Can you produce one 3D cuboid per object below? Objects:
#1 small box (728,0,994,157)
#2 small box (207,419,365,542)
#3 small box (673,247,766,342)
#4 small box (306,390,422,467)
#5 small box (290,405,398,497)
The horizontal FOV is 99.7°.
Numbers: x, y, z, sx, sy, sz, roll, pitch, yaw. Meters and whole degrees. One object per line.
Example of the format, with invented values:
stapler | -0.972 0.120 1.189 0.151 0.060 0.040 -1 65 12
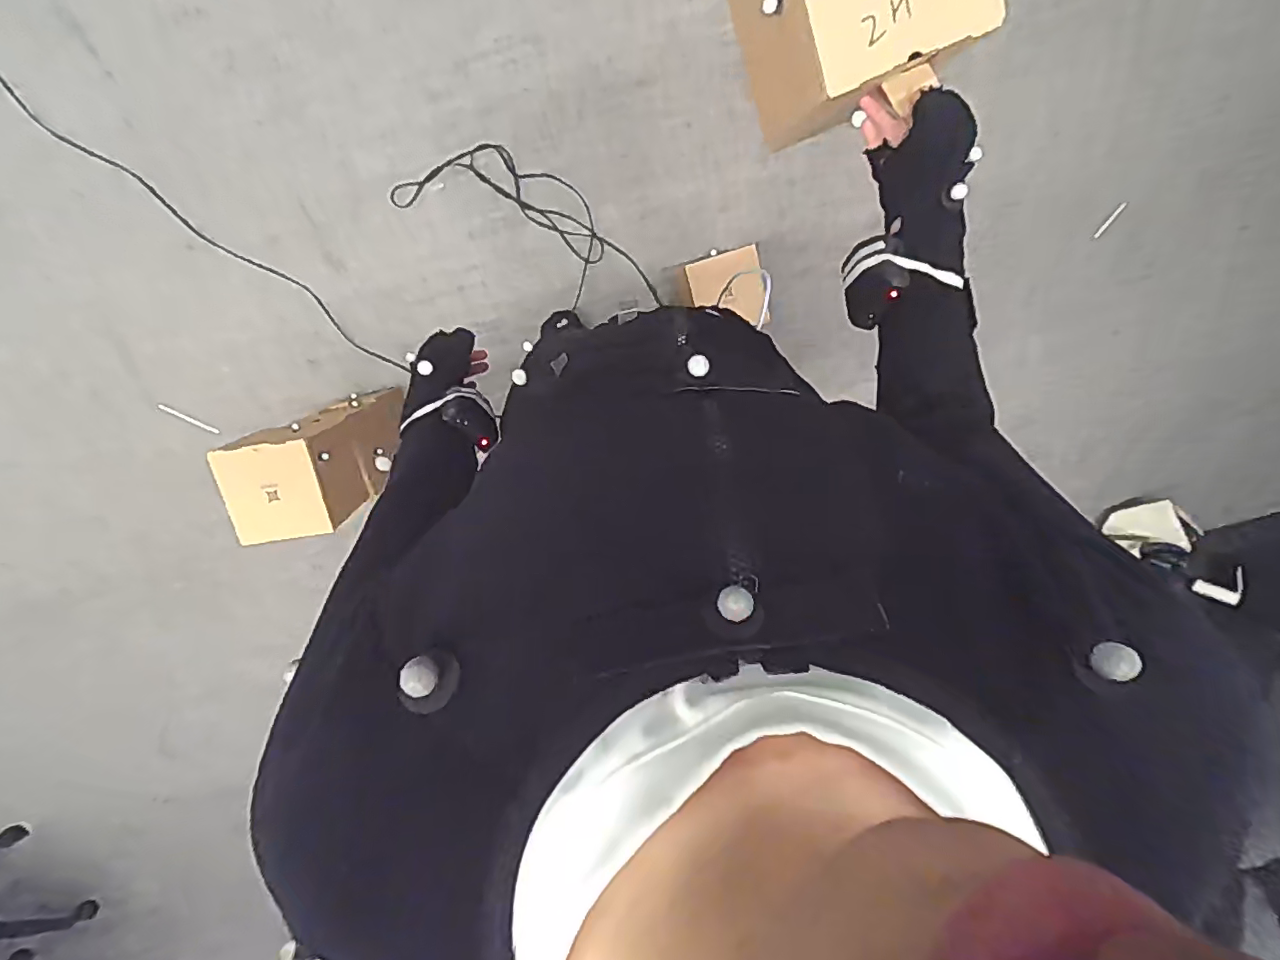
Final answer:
small box | 0.200 -0.458 0.531 0.168 0.176 0.179 -21 107 3
small box | -0.647 -0.005 1.016 0.168 0.176 0.179 -8 109 -3
small box | 0.187 -0.446 1.302 0.168 0.176 0.179 -17 109 -1
small box | -0.666 -0.116 1.326 0.168 0.176 0.179 -15 108 3
small box | -0.654 -0.057 1.170 0.168 0.176 0.179 -12 110 -1
